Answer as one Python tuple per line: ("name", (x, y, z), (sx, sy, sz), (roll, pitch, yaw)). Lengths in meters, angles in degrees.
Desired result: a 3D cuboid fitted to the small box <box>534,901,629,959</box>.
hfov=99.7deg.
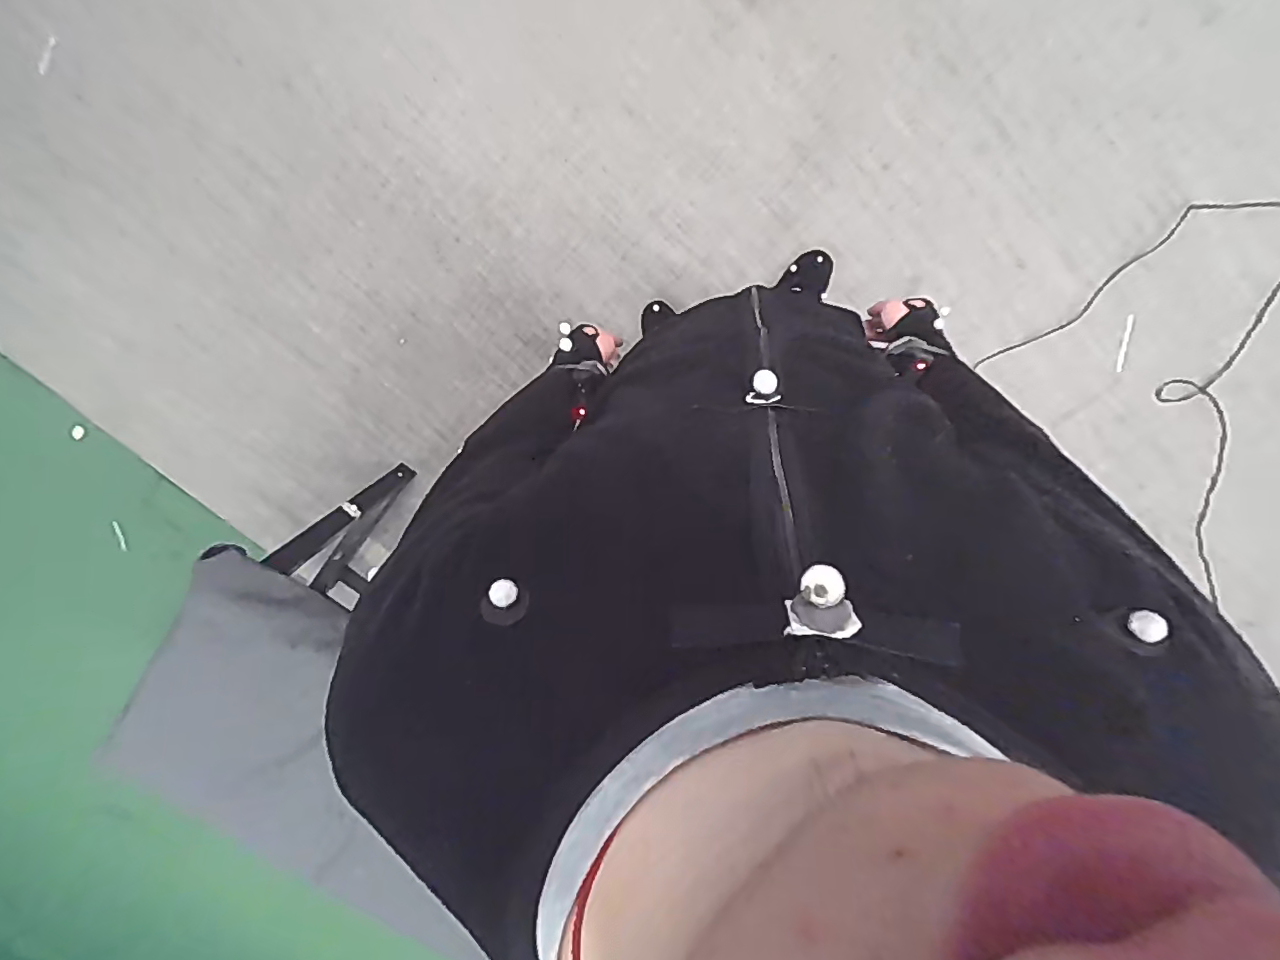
("small box", (-0.137, 1.101, 1.215), (0.168, 0.176, 0.179), (38, 109, -9))
